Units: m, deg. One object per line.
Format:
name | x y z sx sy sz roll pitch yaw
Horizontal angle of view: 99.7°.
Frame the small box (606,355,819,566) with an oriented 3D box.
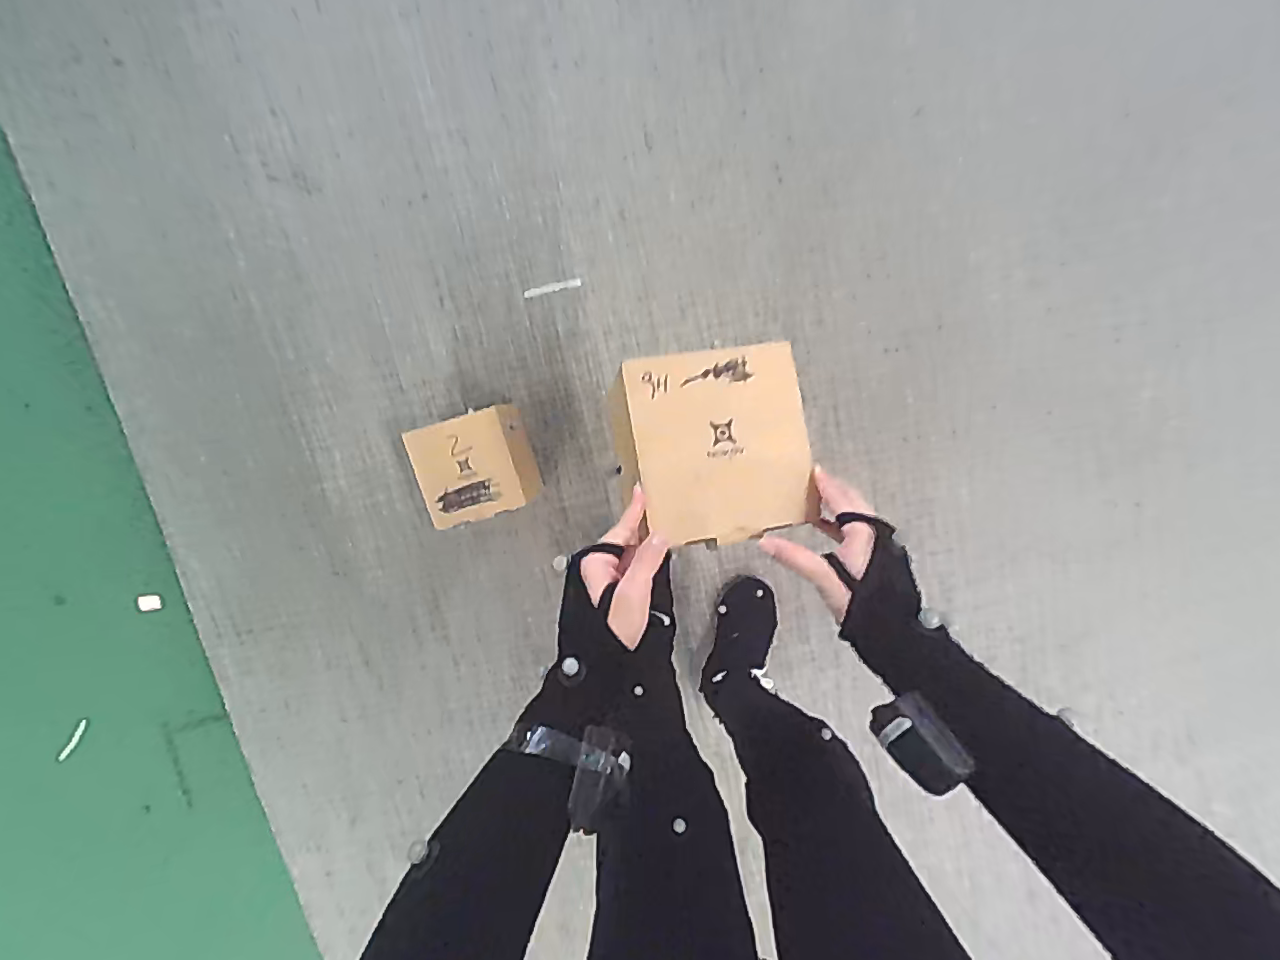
small box | 0.063 -0.016 0.570 0.168 0.176 0.179 -9 87 -10
